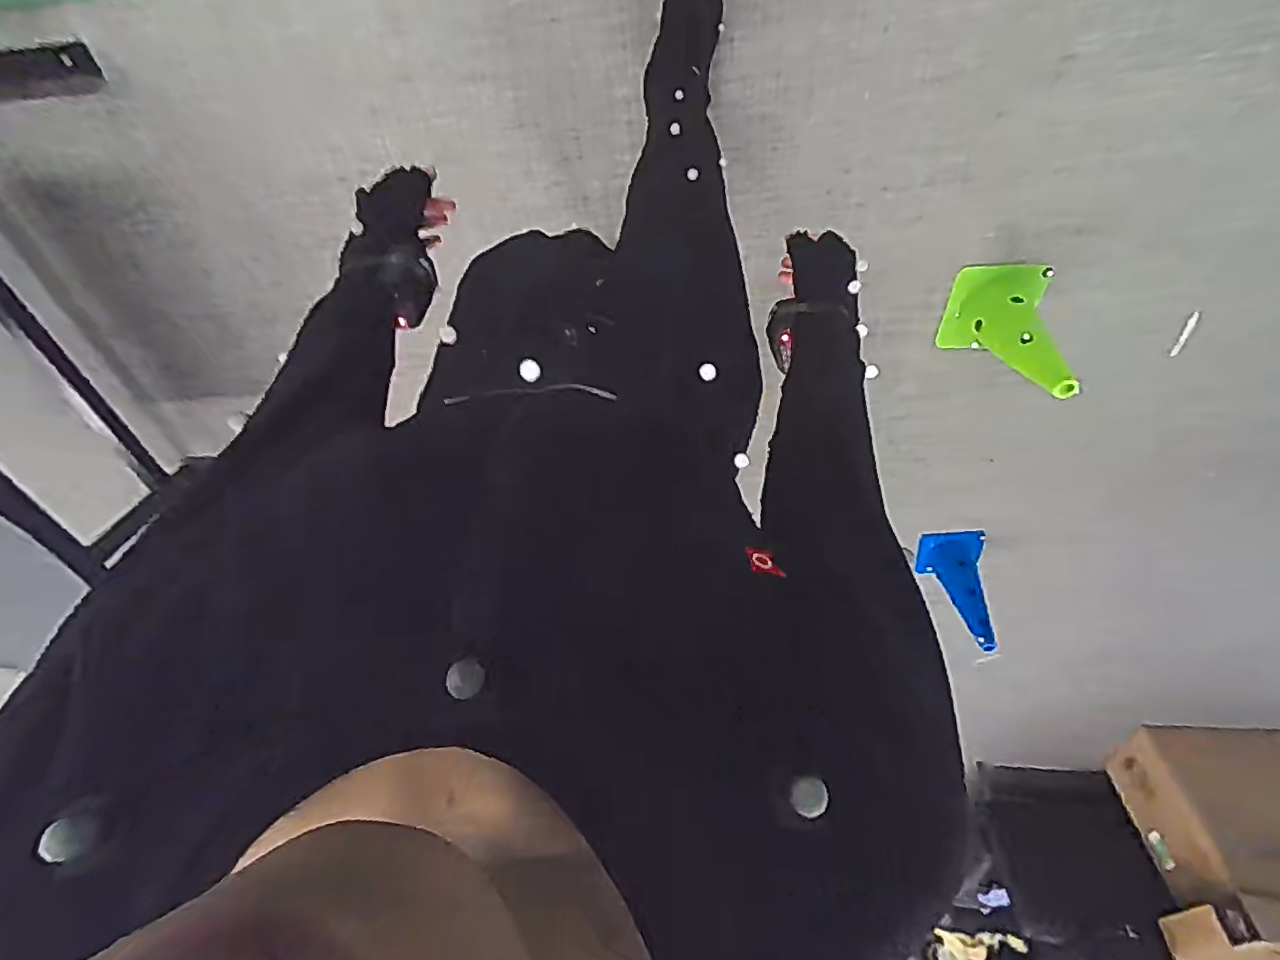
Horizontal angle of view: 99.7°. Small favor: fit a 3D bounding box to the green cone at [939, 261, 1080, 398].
[{"bbox_3d":[0.803,-0.290,1.126,0.200,0.368,0.202,0,132,8],"label":"green cone"}]
